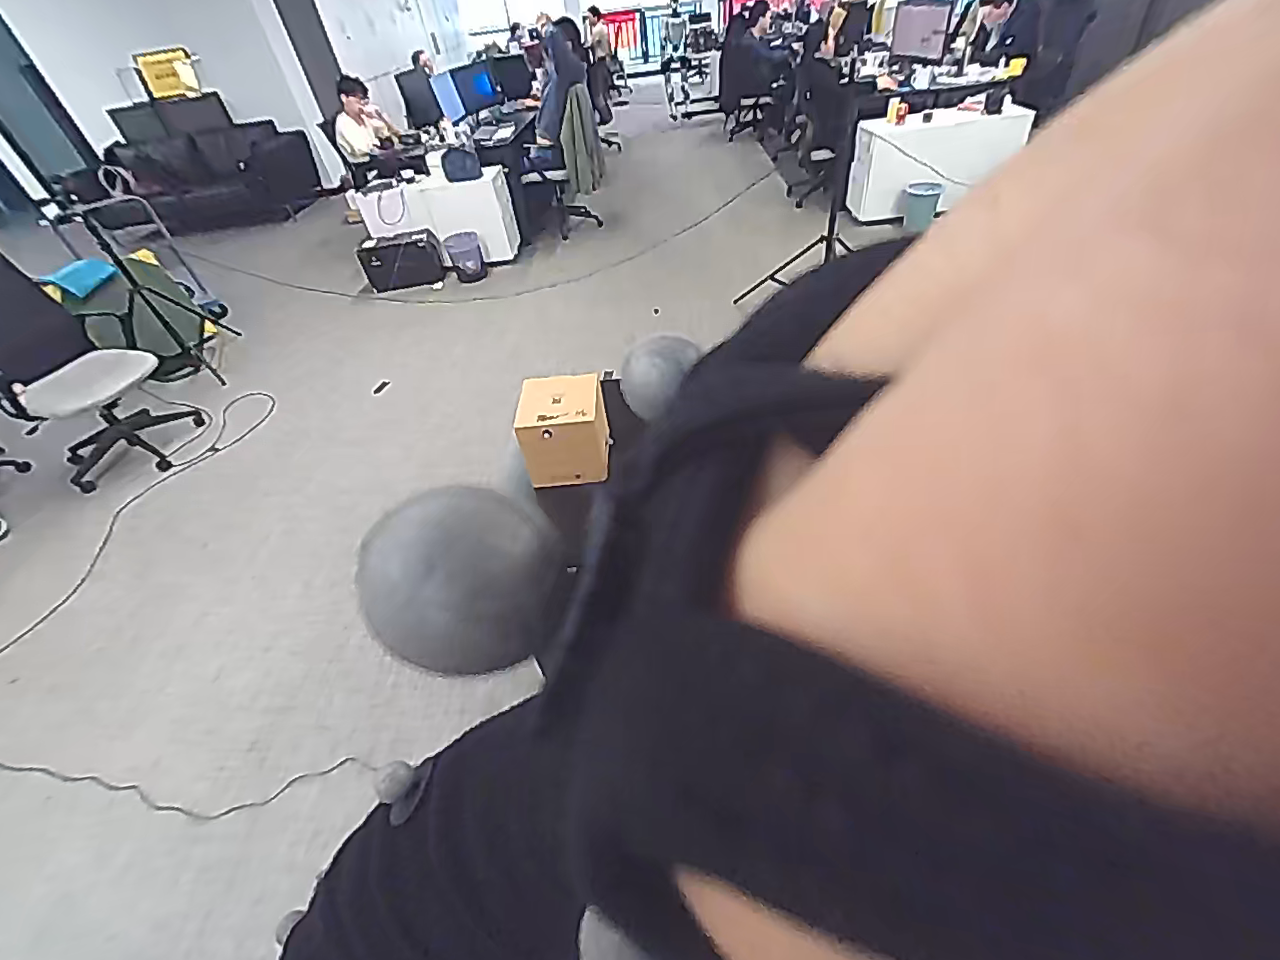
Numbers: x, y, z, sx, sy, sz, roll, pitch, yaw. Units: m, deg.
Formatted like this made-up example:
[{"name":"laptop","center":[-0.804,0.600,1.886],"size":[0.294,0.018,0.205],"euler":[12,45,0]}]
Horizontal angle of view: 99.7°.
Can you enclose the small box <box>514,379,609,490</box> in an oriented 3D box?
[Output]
[{"name":"small box","center":[-0.162,-0.099,1.177],"size":[0.168,0.176,0.179],"euler":[-5,42,3]}]

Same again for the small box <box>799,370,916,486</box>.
[{"name":"small box","center":[0.421,-0.102,1.084],"size":[0.179,0.176,0.168],"euler":[-3,42,6]}]
